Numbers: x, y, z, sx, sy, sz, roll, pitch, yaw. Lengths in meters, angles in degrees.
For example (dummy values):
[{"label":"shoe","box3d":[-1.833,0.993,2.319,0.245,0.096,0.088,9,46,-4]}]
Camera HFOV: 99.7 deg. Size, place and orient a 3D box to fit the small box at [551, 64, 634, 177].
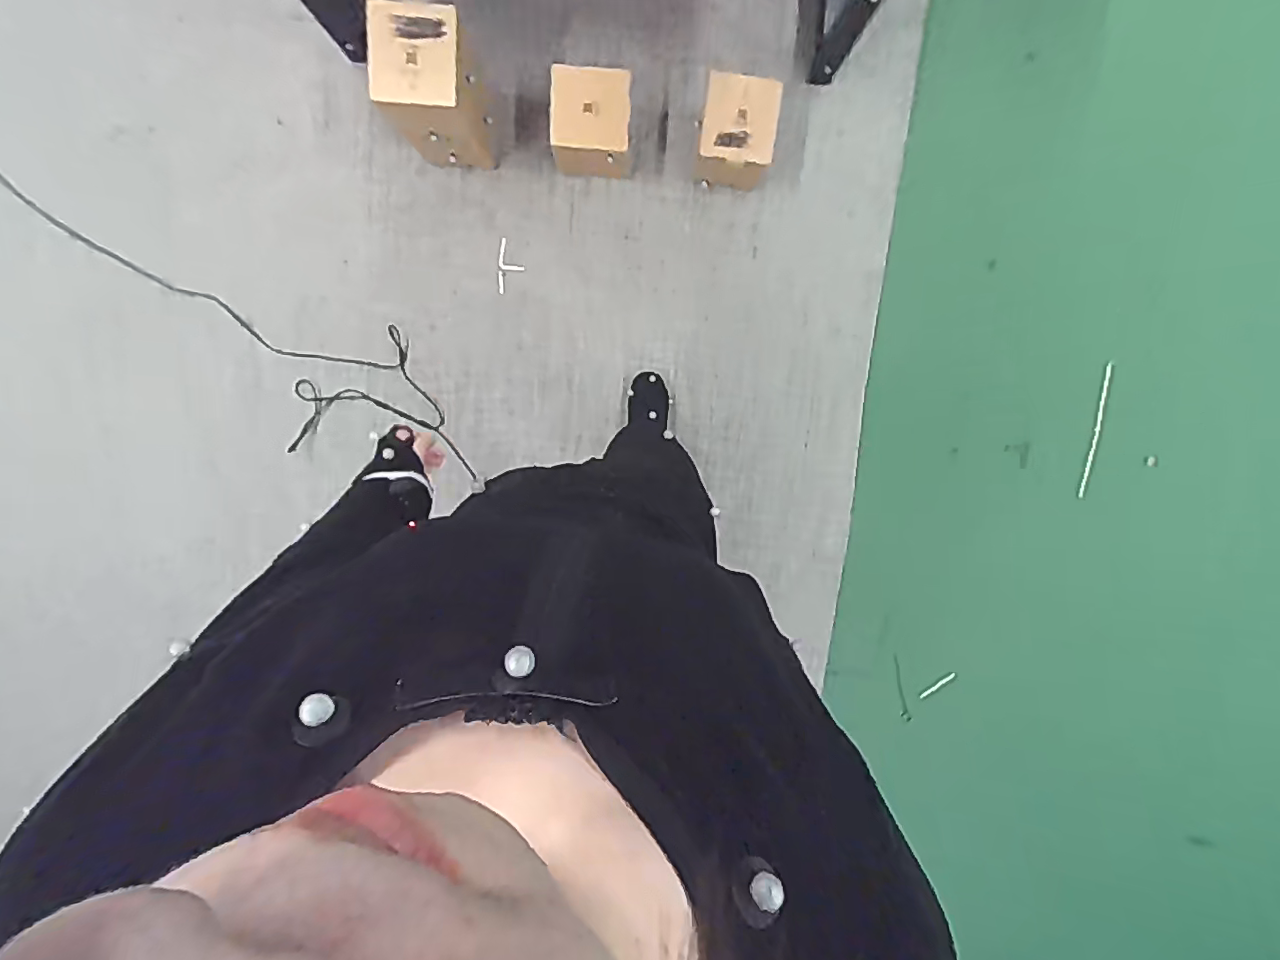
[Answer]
[{"label":"small box","box3d":[-0.107,-0.838,1.276,0.179,0.176,0.168,3,100,-1]}]
